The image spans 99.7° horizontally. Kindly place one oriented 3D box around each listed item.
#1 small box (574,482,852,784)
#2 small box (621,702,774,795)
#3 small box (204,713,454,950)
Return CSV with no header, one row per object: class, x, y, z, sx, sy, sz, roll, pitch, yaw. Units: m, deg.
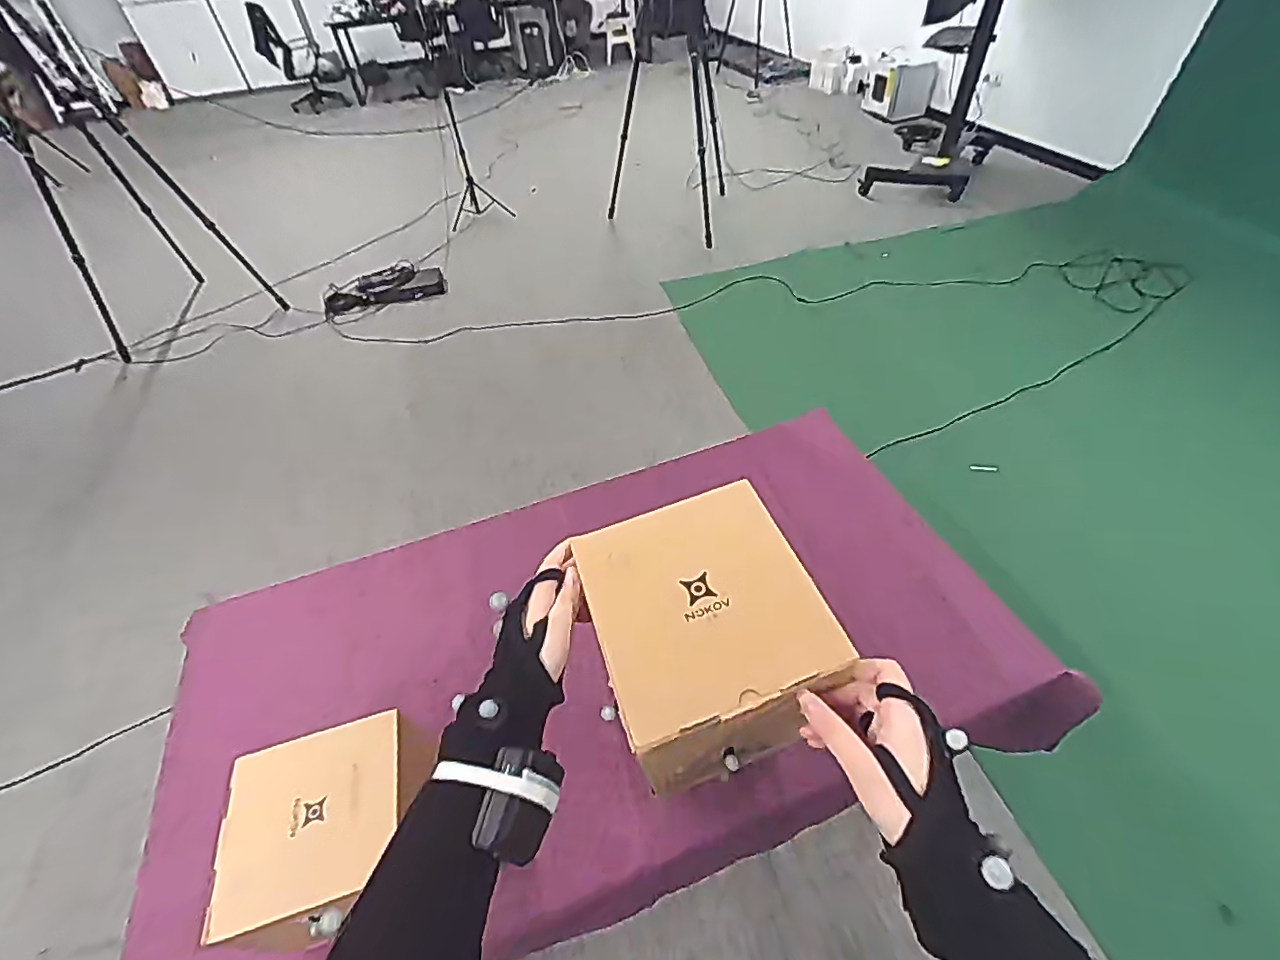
small box,0.052,0.137,0.480,0.168,0.176,0.179,-19,52,-8
small box,0.067,0.268,0.687,0.179,0.176,0.168,-16,48,-10
small box,-0.326,0.396,0.607,0.179,0.176,0.168,-15,49,-9
